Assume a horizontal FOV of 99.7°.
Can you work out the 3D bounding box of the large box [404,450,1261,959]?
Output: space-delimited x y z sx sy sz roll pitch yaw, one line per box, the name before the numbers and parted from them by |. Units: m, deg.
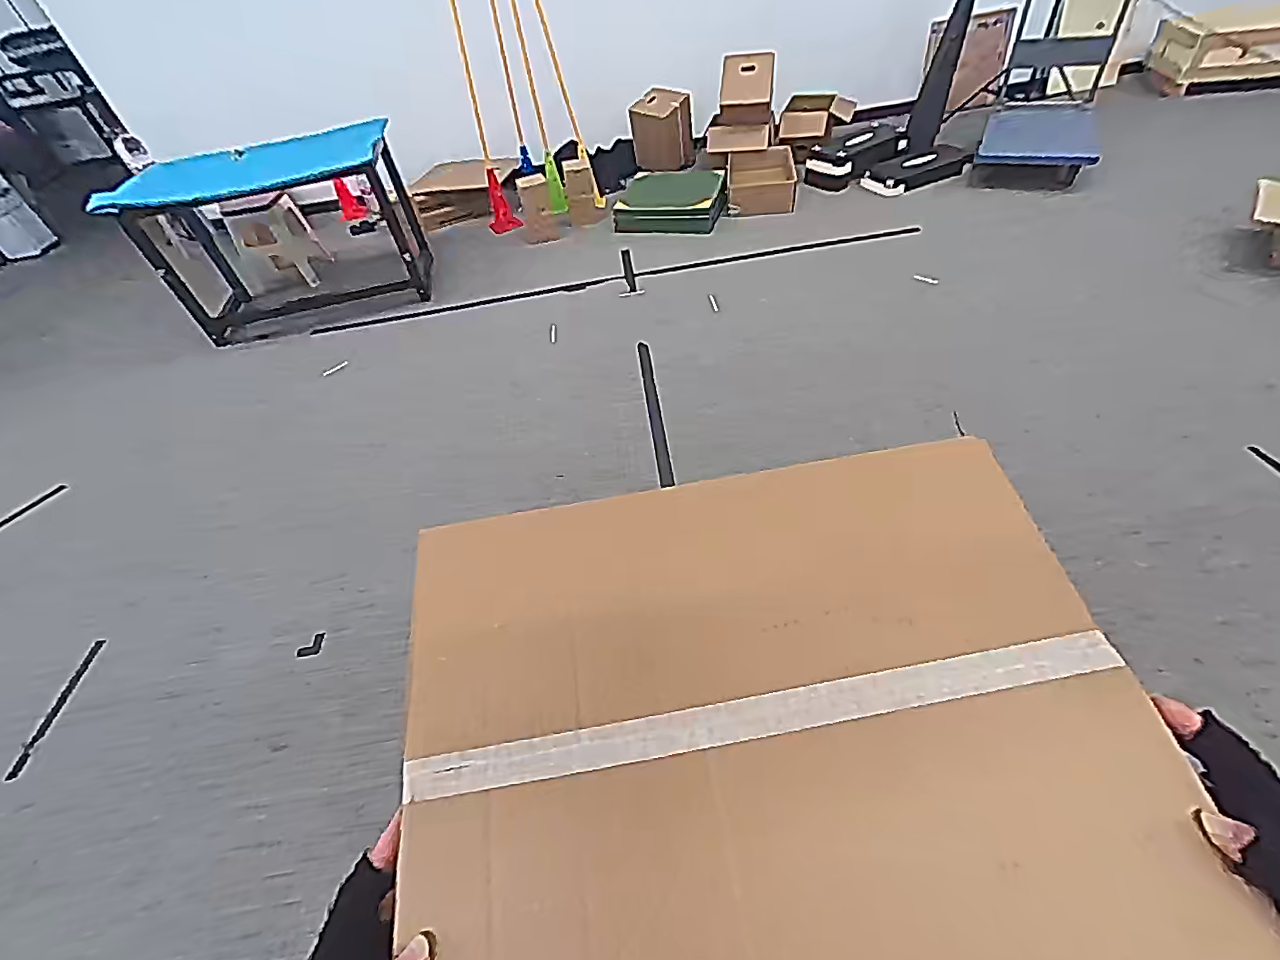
large box | 0.078 0.217 0.438 0.408 0.320 0.320 -10 58 -1
